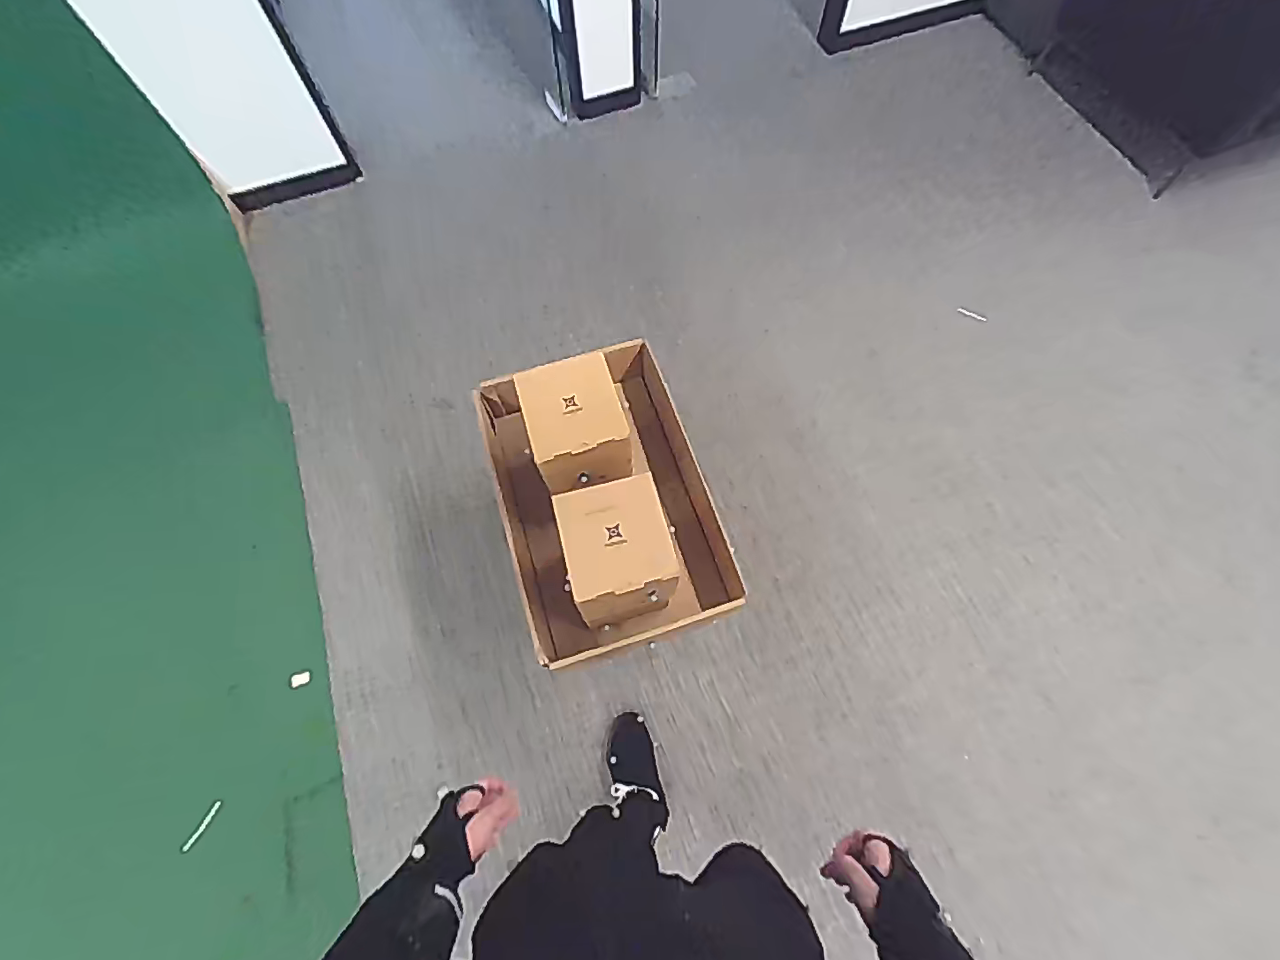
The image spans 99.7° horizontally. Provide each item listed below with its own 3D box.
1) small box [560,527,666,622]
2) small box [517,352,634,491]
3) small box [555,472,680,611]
[{"bbox_3d":[-0.046,0.169,1.055,0.168,0.176,0.179,-16,67,-6],"label":"small box"},{"bbox_3d":[-0.115,-0.102,0.994,0.168,0.176,0.179,-16,70,-7],"label":"small box"},{"bbox_3d":[-0.036,0.112,0.902,0.168,0.176,0.179,-13,68,-6],"label":"small box"}]
